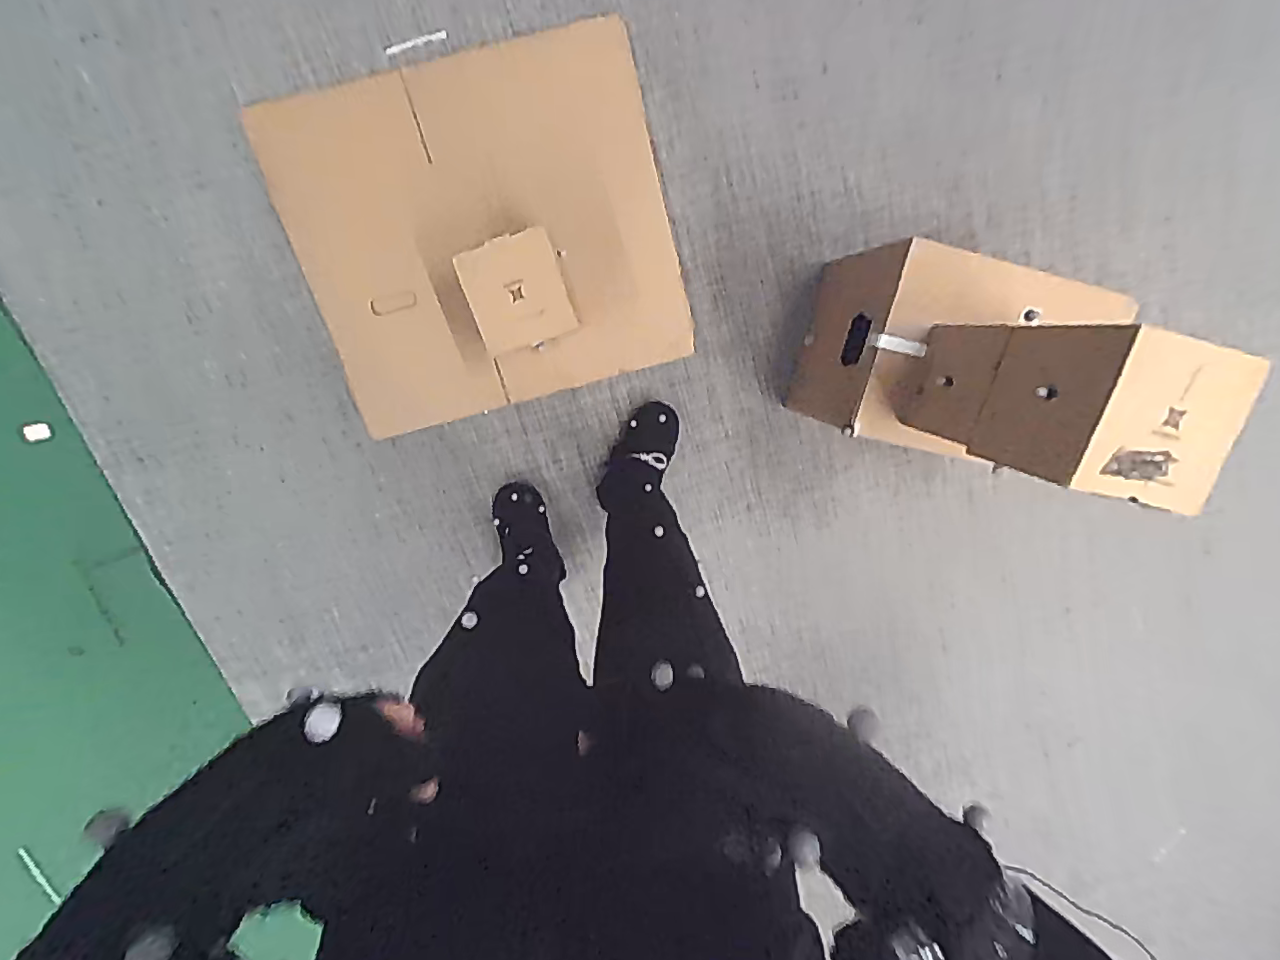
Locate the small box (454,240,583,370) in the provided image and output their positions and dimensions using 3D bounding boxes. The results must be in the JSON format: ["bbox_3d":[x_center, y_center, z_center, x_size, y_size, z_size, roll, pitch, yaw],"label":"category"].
[{"bbox_3d":[-0.212,-0.315,0.994,0.168,0.176,0.179,-19,106,4],"label":"small box"}]

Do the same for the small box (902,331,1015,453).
[{"bbox_3d":[0.527,-0.124,0.807,0.179,0.176,0.168,6,103,-7],"label":"small box"}]

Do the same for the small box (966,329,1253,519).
[{"bbox_3d":[0.534,-0.074,0.648,0.168,0.176,0.179,11,103,-8],"label":"small box"}]
